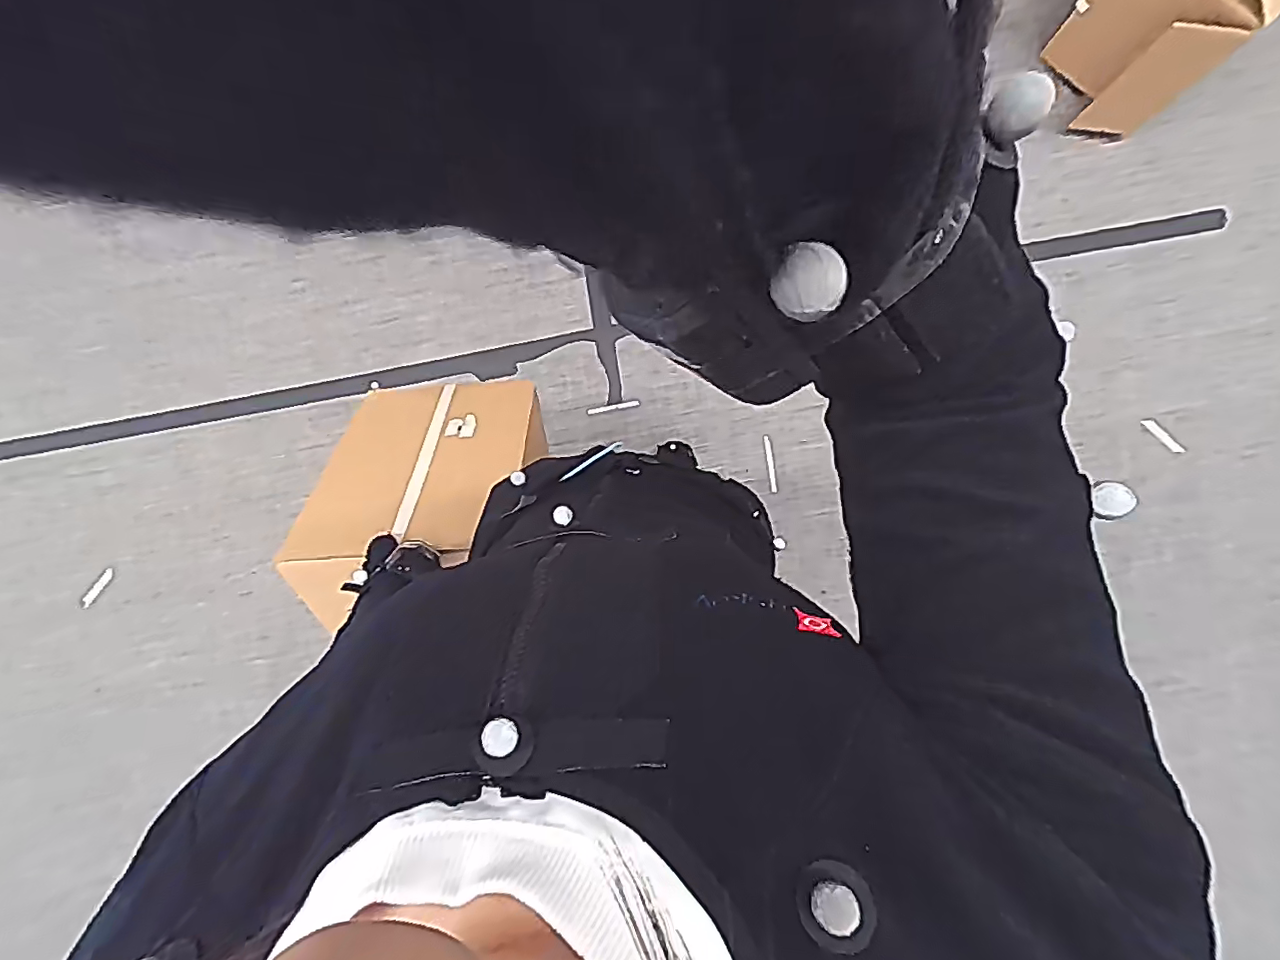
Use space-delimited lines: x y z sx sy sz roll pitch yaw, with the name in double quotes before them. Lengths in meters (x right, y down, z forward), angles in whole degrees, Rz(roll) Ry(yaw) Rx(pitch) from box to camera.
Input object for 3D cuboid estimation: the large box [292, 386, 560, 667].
"large box" -0.331 0.075 0.985 0.320 0.408 0.320 -3 133 0
